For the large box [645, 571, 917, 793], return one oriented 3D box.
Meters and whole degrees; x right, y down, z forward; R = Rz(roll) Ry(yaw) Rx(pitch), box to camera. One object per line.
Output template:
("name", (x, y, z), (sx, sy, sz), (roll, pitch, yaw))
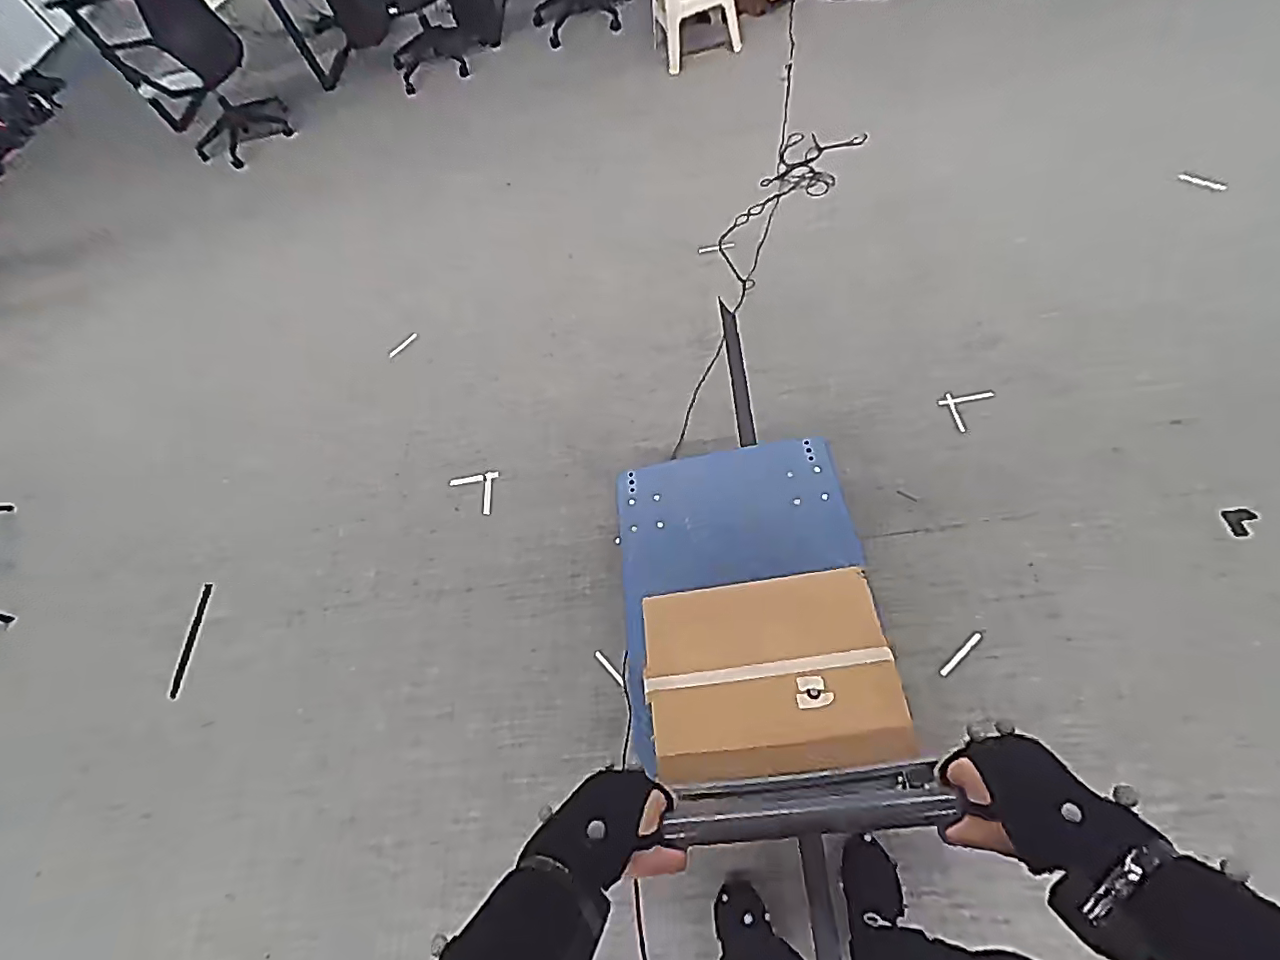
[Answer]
("large box", (0.244, 0.406, 1.050), (0.408, 0.320, 0.320), (-10, 59, 6))
